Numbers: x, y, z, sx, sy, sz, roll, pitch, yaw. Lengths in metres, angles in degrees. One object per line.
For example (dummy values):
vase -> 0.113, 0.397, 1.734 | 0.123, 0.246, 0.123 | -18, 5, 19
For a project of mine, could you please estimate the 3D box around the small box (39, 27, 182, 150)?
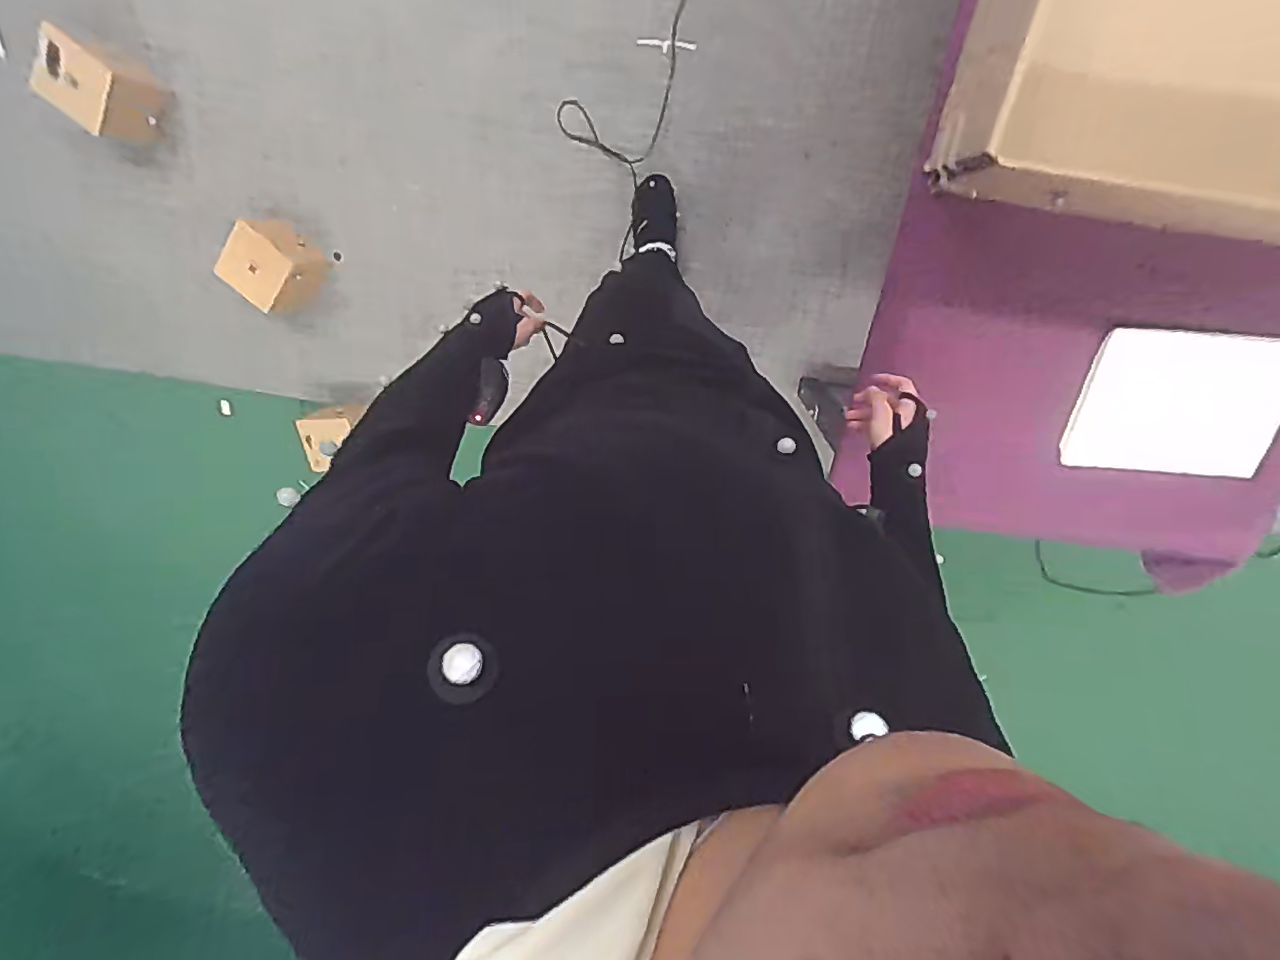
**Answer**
small box -> -1.325, -0.970, 1.362 | 0.179, 0.176, 0.168 | 38, 112, -10

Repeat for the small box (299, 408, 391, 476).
small box -> -0.894, -0.122, 1.666 | 0.179, 0.176, 0.168 | -2, 113, 8

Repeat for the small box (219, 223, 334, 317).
small box -> -0.991, -0.575, 1.488 | 0.168, 0.176, 0.179 | 41, 110, -10
